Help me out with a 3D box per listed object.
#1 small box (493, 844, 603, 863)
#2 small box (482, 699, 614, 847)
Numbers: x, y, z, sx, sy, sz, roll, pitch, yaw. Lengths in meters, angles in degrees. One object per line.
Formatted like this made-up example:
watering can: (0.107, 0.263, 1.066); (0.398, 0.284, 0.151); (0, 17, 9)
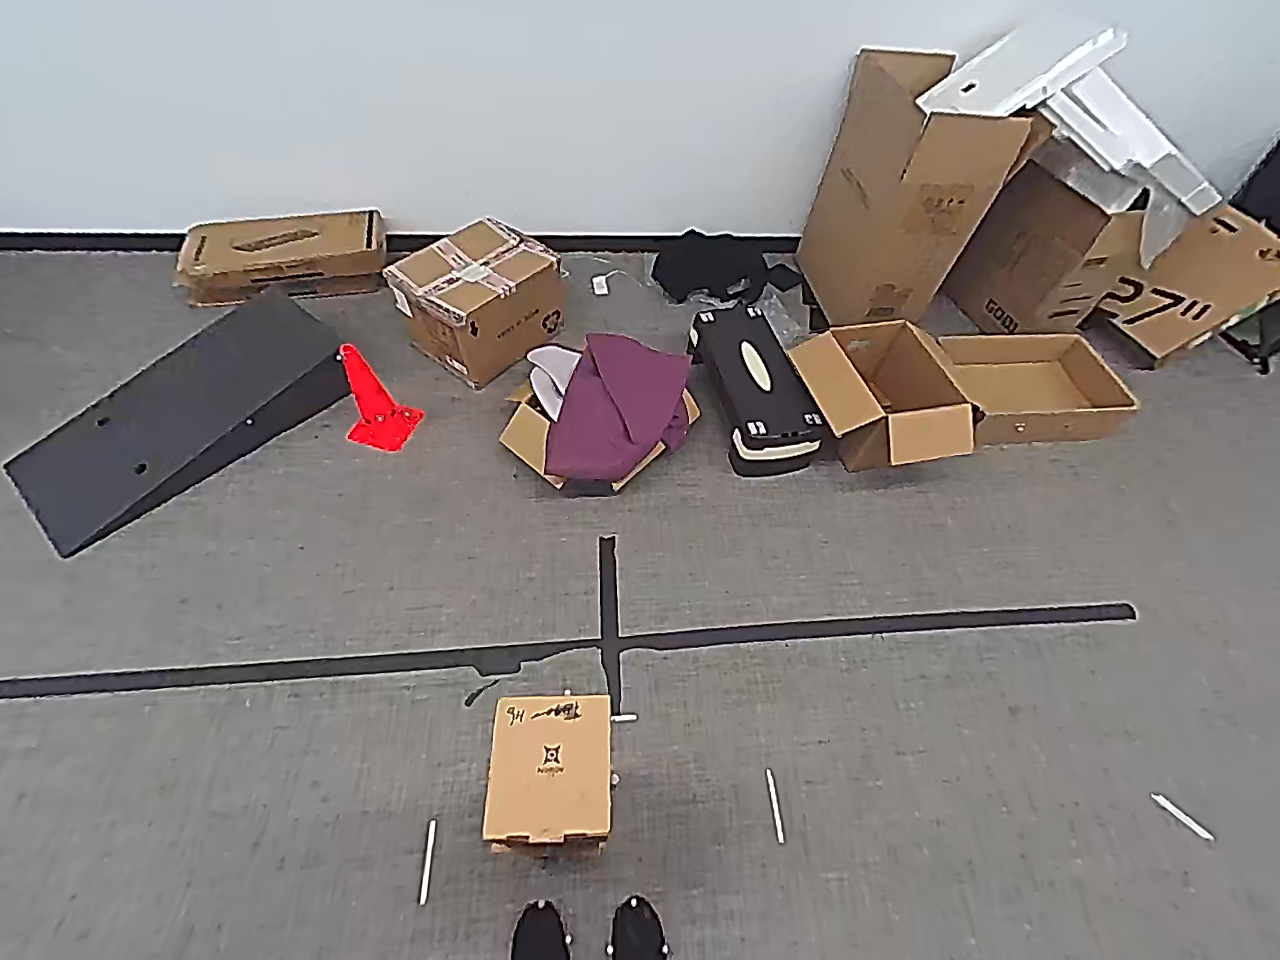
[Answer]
small box: (-0.140, 0.542, 0.919); (0.168, 0.176, 0.179); (2, 55, -1)
small box: (-0.123, 0.434, 0.796); (0.168, 0.176, 0.179); (0, 55, -3)
